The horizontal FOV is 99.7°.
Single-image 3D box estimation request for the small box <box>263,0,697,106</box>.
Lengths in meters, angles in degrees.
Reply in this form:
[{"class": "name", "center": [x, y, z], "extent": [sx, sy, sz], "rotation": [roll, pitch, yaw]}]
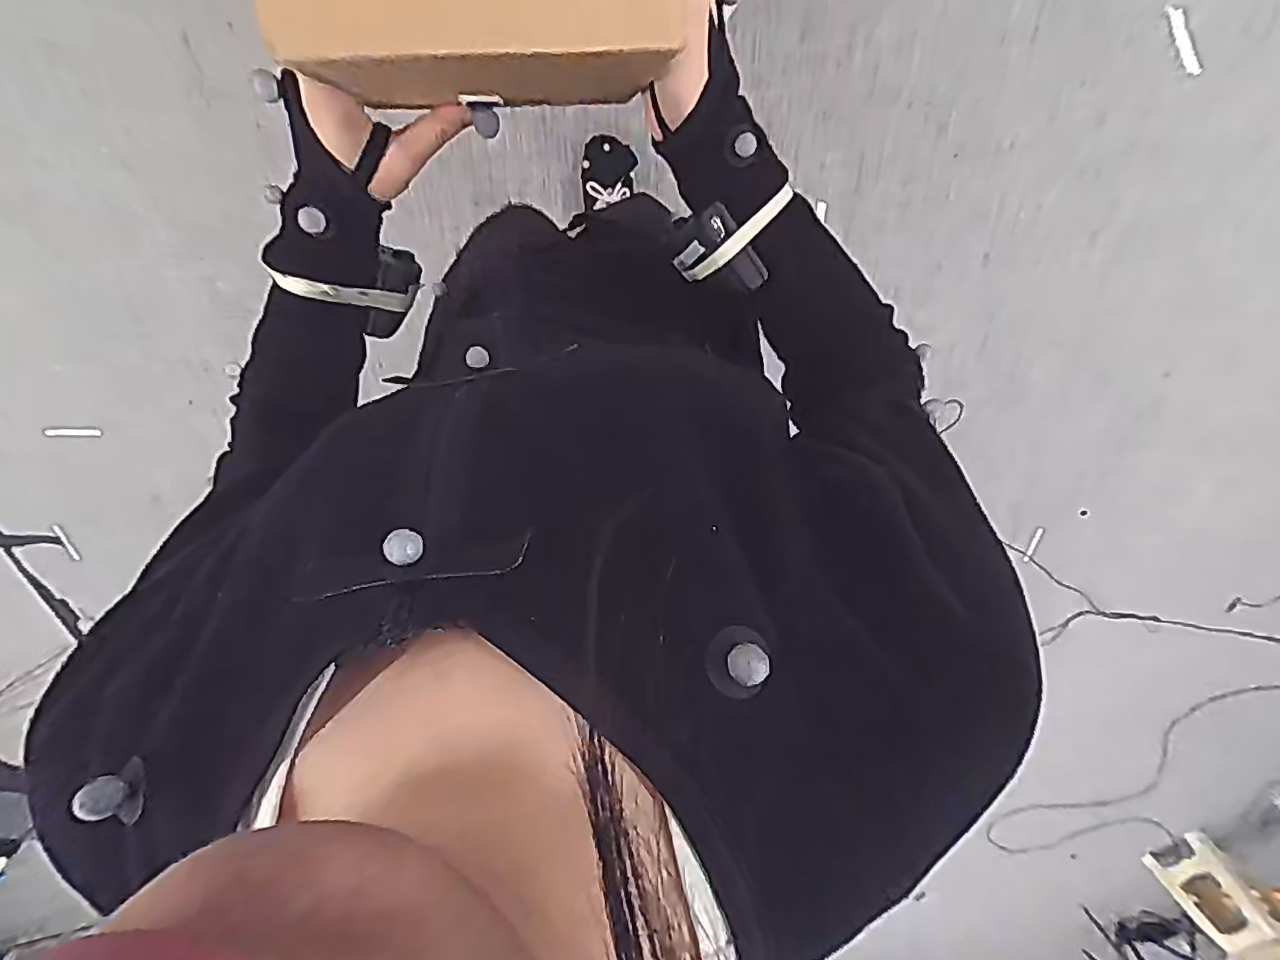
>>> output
[{"class": "small box", "center": [-0.074, -0.287, 0.242], "extent": [0.168, 0.176, 0.179], "rotation": [-7, 119, -6]}]
